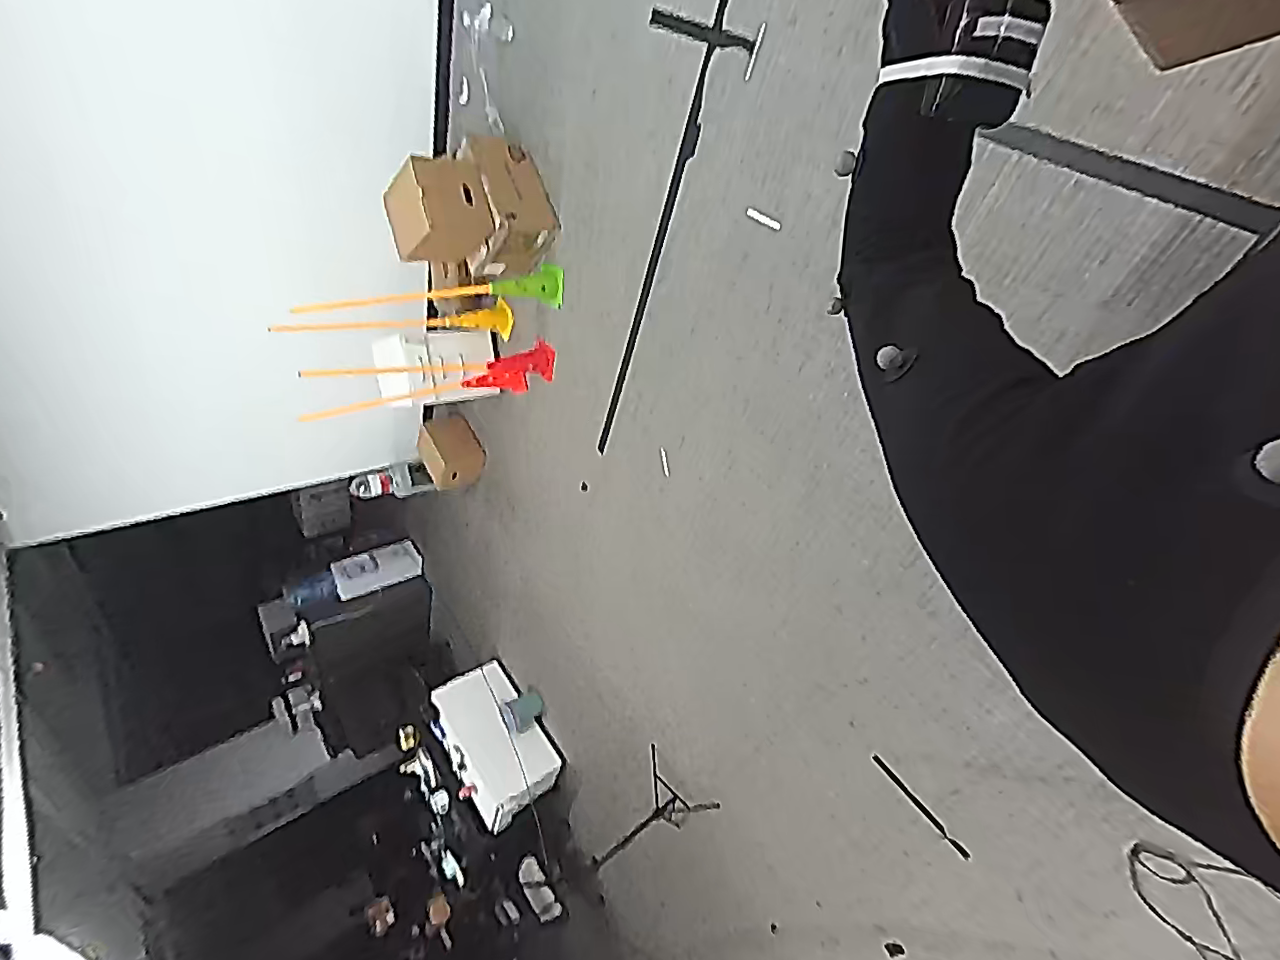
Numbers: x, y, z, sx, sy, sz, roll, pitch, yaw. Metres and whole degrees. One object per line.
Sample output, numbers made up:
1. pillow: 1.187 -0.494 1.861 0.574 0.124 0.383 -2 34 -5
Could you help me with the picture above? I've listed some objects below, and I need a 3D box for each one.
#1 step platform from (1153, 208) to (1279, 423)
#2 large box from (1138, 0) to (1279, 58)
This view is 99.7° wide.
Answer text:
1. step platform: 1.262 -0.428 0.904 0.286 0.204 0.684 43 131 31
2. large box: 0.487 -0.467 0.221 0.408 0.320 0.320 10 114 46
